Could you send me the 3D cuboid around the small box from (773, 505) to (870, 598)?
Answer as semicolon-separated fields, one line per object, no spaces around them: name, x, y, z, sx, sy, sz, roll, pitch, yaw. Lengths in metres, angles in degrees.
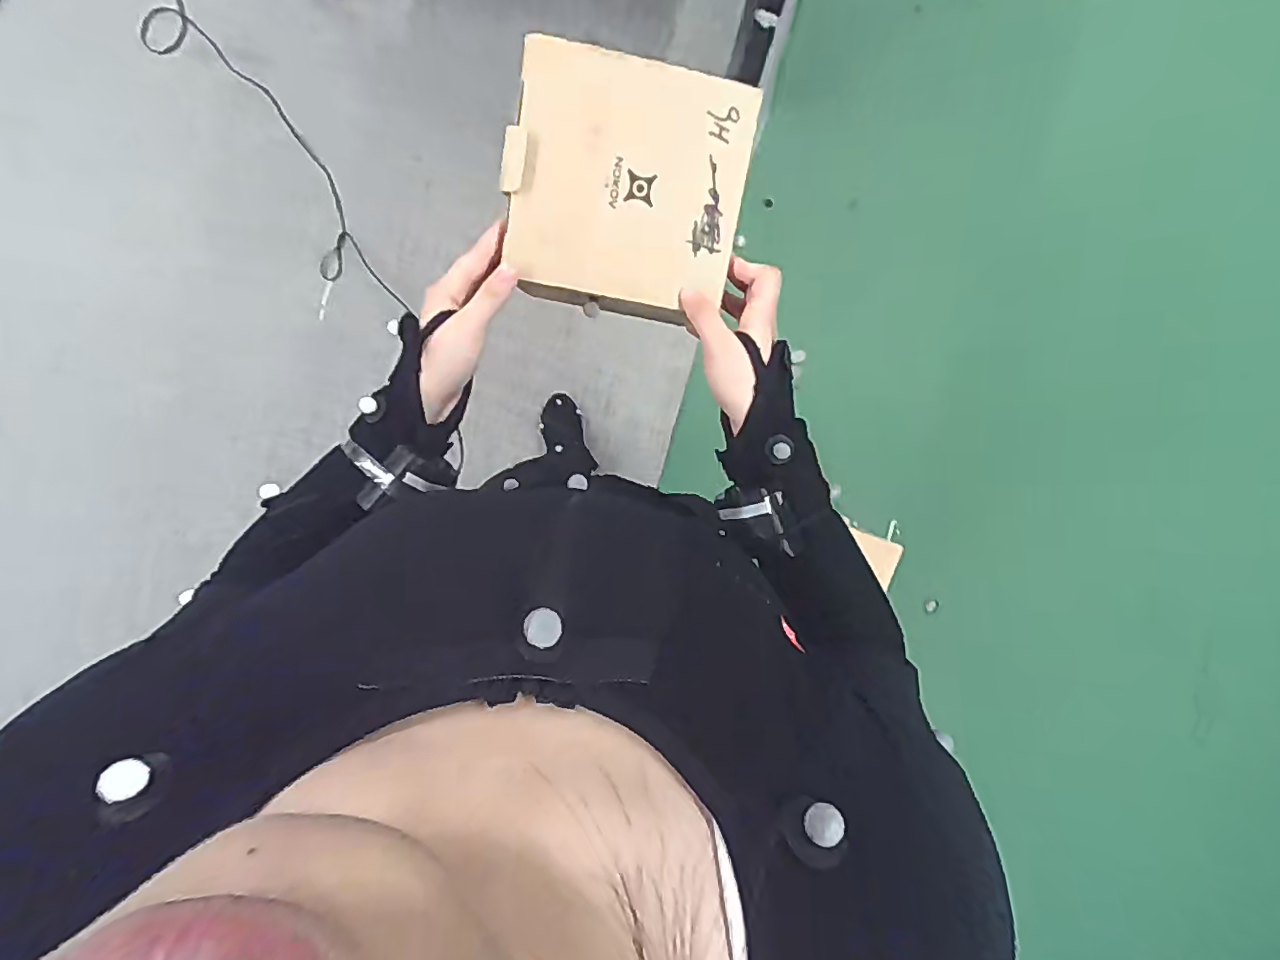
small box;0.459;0.178;1.403;0.168;0.176;0.179;20;94;-1
